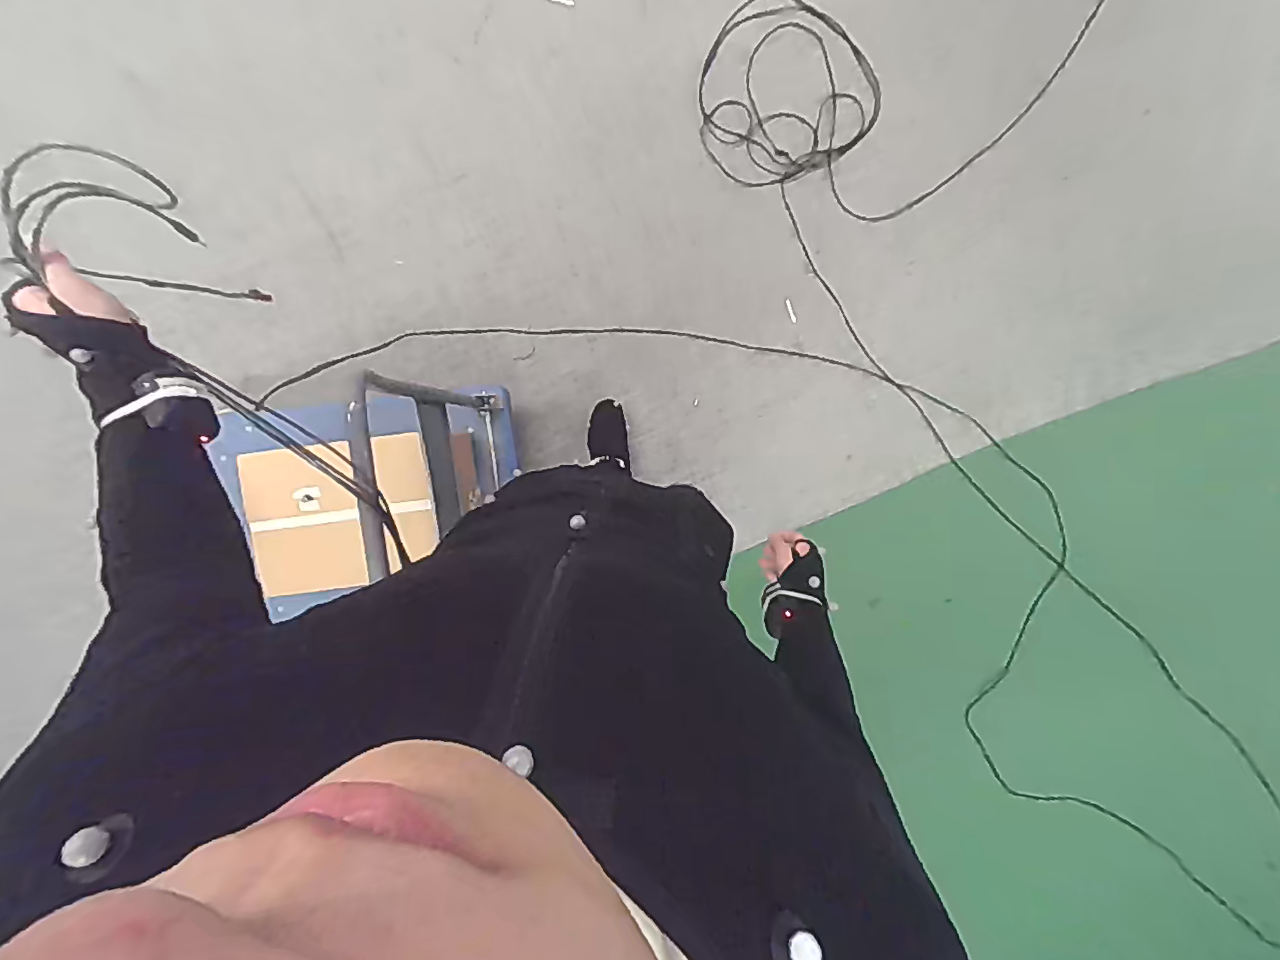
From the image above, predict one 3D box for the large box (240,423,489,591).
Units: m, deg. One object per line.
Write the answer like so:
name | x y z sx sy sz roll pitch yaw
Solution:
large box | -0.620 0.044 1.290 0.408 0.320 0.320 -7 95 1
